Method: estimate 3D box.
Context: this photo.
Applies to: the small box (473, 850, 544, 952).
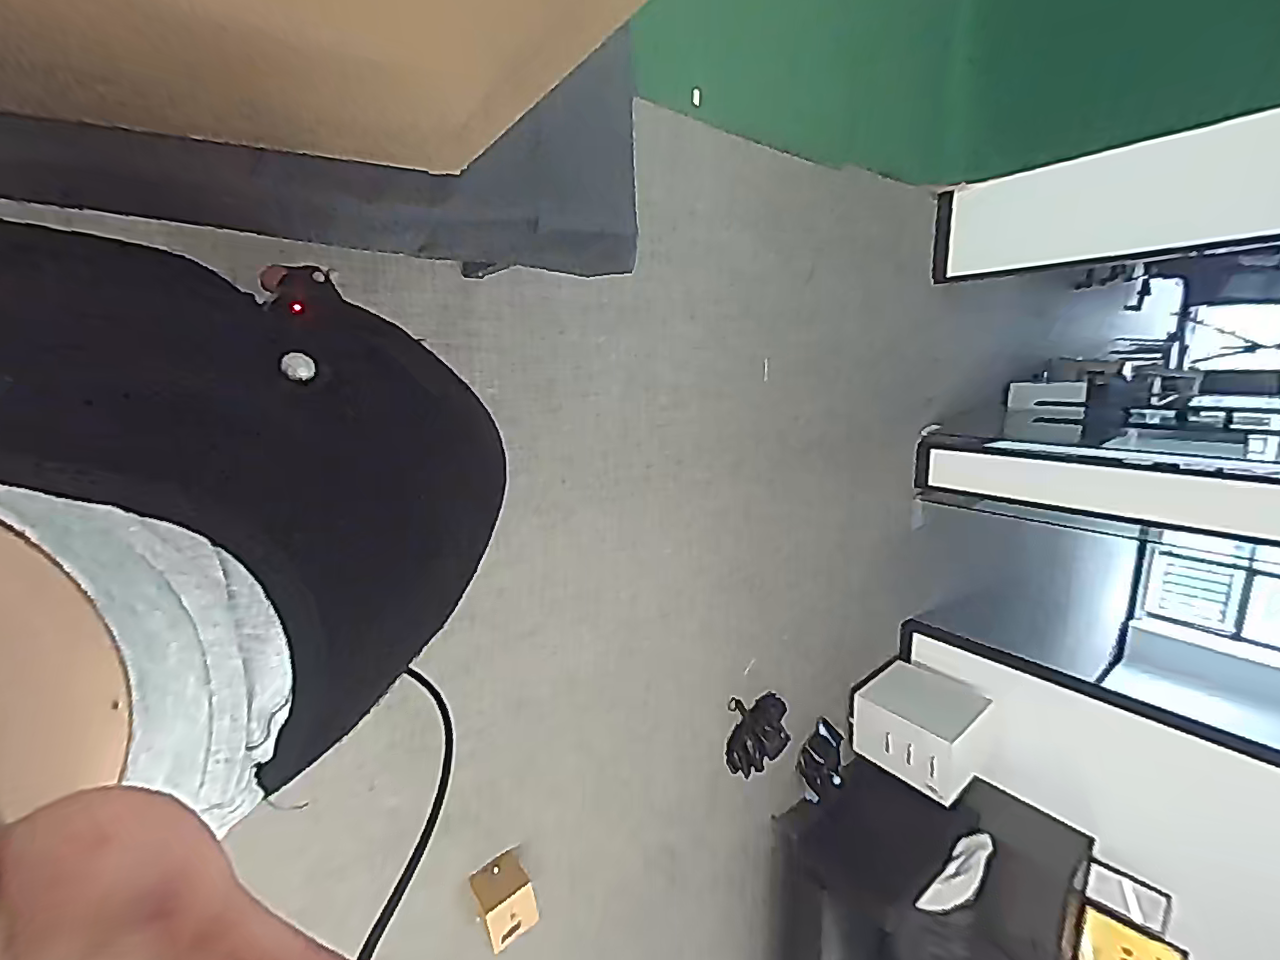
[{"bbox_3d":[-0.451,1.429,1.849,0.168,0.176,0.179,-19,109,-35],"label":"small box"}]
